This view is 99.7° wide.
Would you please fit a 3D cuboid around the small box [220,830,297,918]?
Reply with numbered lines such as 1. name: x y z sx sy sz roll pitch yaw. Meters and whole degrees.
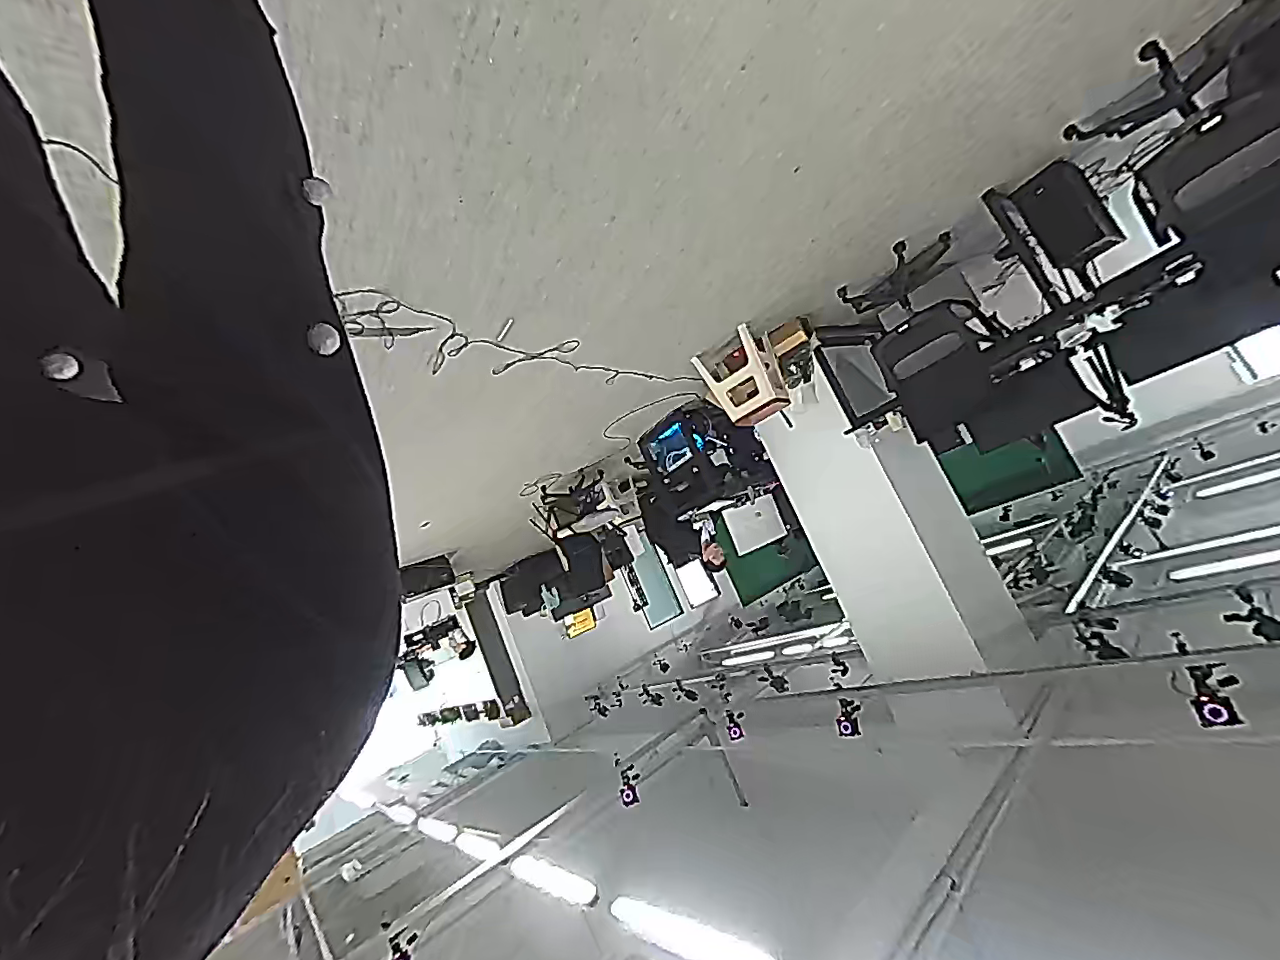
1. small box: -1.273 1.302 1.811 0.179 0.176 0.168 -15 167 -36
